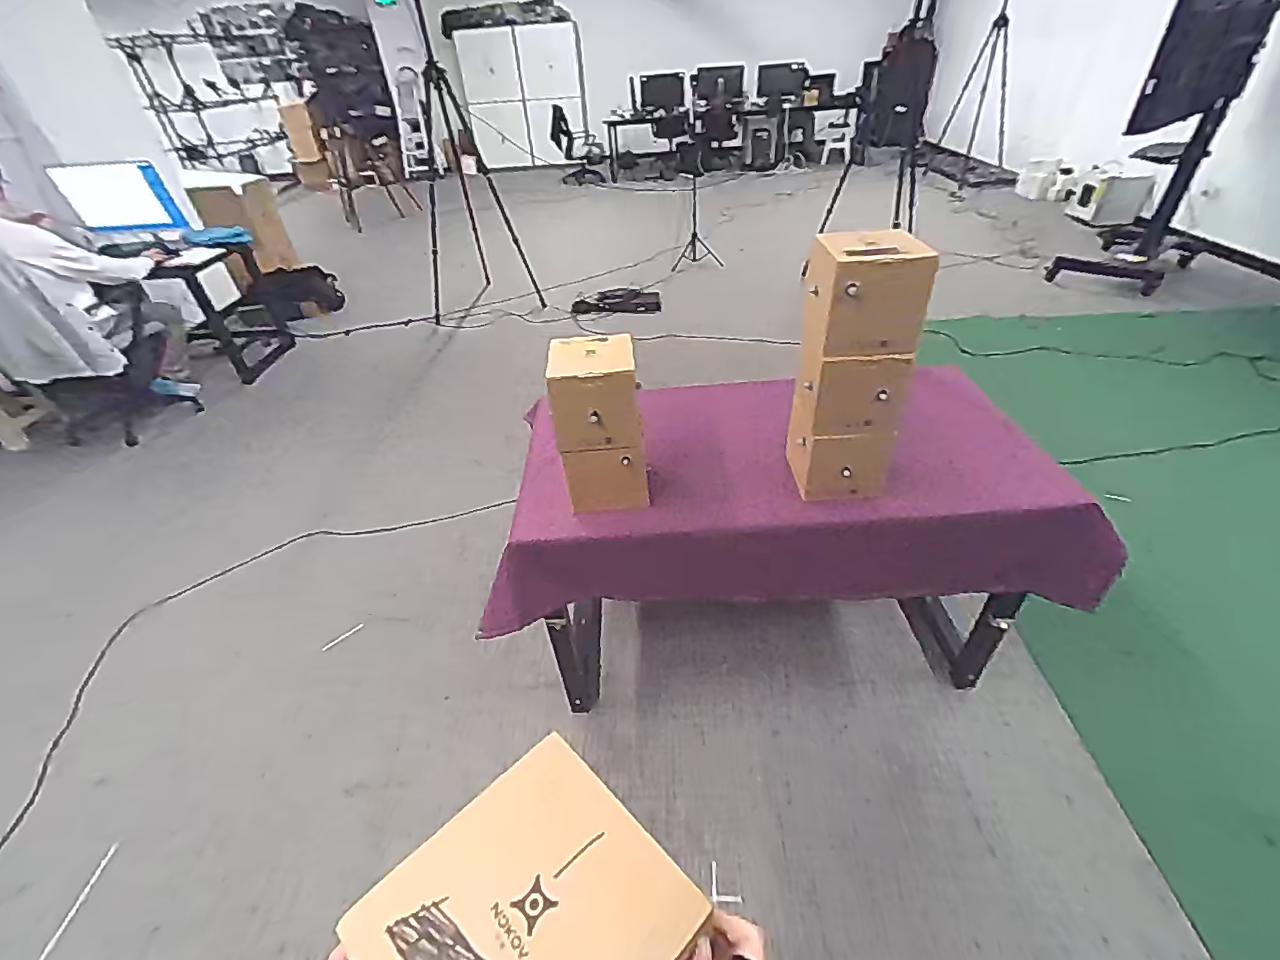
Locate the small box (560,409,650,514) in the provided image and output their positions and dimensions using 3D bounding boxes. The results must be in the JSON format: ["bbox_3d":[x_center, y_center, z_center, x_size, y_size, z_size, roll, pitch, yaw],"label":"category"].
[{"bbox_3d":[-0.073,-0.039,1.197,0.179,0.176,0.168,-5,38,0],"label":"small box"}]

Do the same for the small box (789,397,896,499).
[{"bbox_3d":[0.428,-0.070,1.172,0.168,0.176,0.179,-3,38,3],"label":"small box"}]

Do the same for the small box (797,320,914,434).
[{"bbox_3d":[0.416,-0.201,1.075,0.168,0.176,0.179,-2,38,4],"label":"small box"}]

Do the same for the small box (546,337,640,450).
[{"bbox_3d":[-0.090,-0.171,1.098,0.168,0.176,0.179,-4,38,-1],"label":"small box"}]
